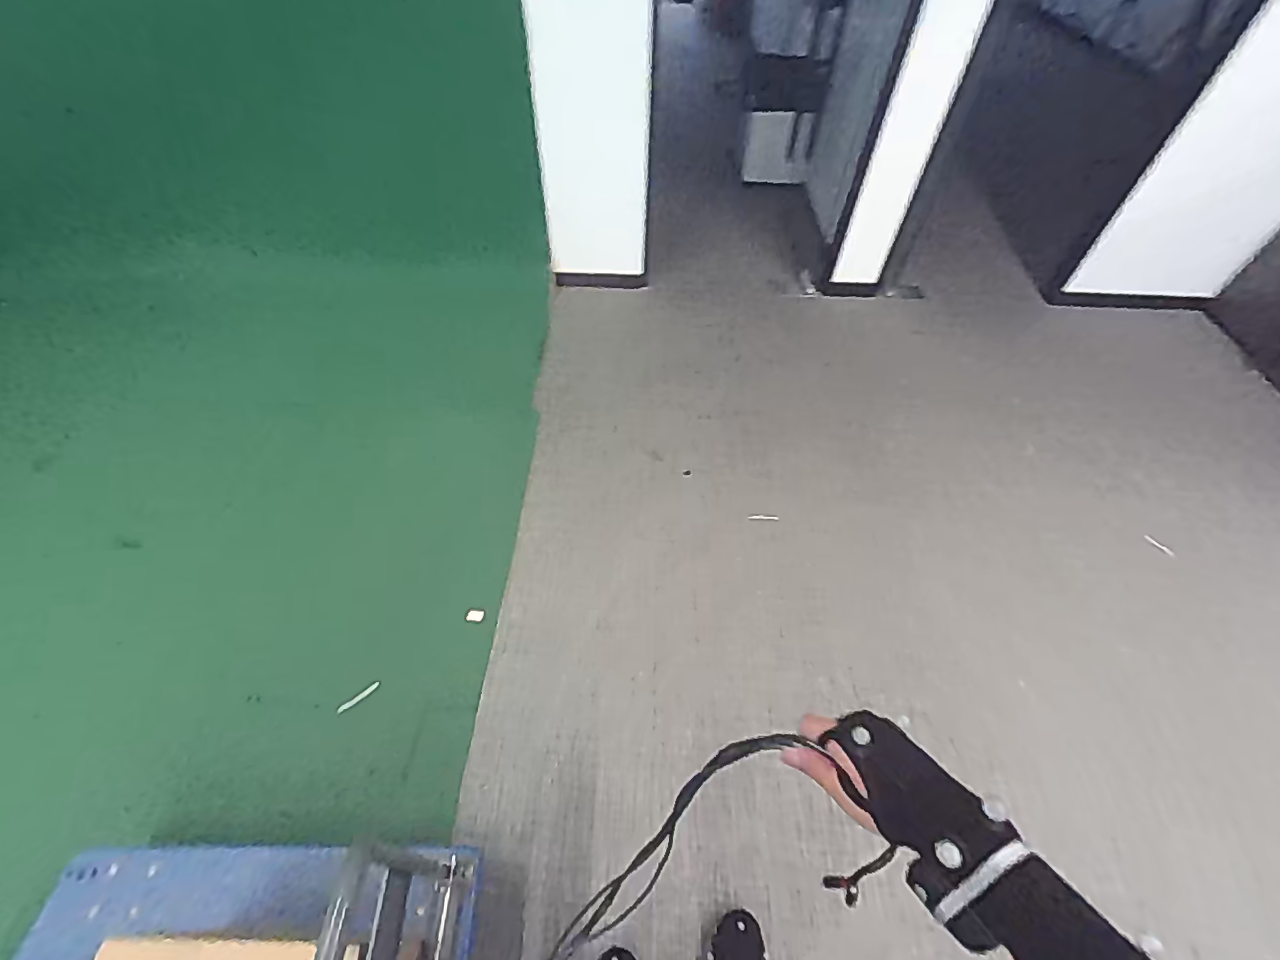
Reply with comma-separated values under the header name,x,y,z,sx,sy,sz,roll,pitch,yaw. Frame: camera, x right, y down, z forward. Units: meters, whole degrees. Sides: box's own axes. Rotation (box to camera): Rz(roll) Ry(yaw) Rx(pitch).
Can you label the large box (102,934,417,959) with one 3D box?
name,x,y,z,sx,sy,sz,roll,pitch,yaw
large box,-0.637,0.941,0.871,0.408,0.320,0.320,2,51,0
